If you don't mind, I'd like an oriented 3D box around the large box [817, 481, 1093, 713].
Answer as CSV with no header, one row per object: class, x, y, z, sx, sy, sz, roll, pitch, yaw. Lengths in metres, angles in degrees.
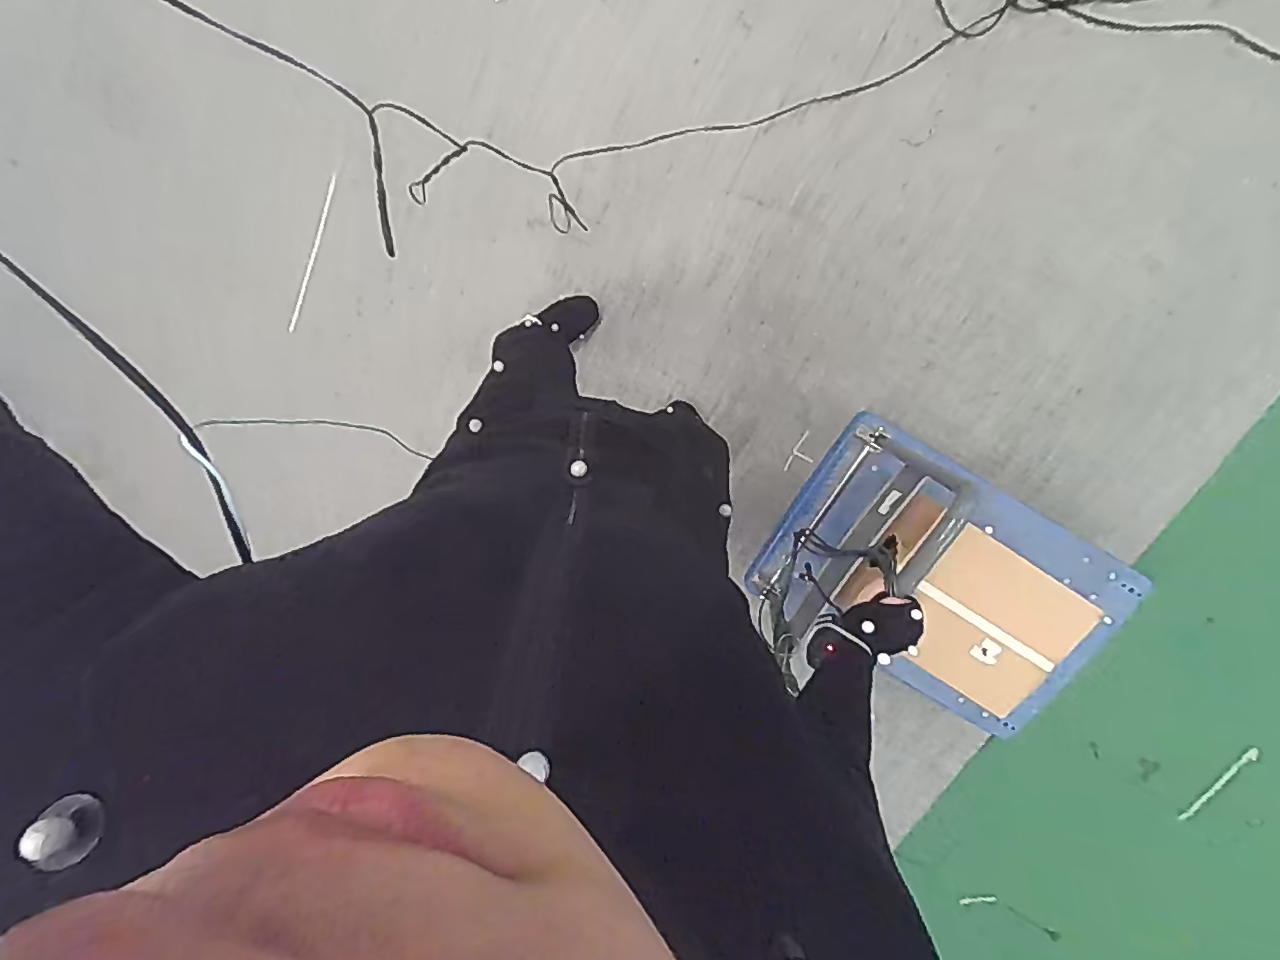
large box,0.703,0.253,1.286,0.408,0.320,0.320,33,105,-2
